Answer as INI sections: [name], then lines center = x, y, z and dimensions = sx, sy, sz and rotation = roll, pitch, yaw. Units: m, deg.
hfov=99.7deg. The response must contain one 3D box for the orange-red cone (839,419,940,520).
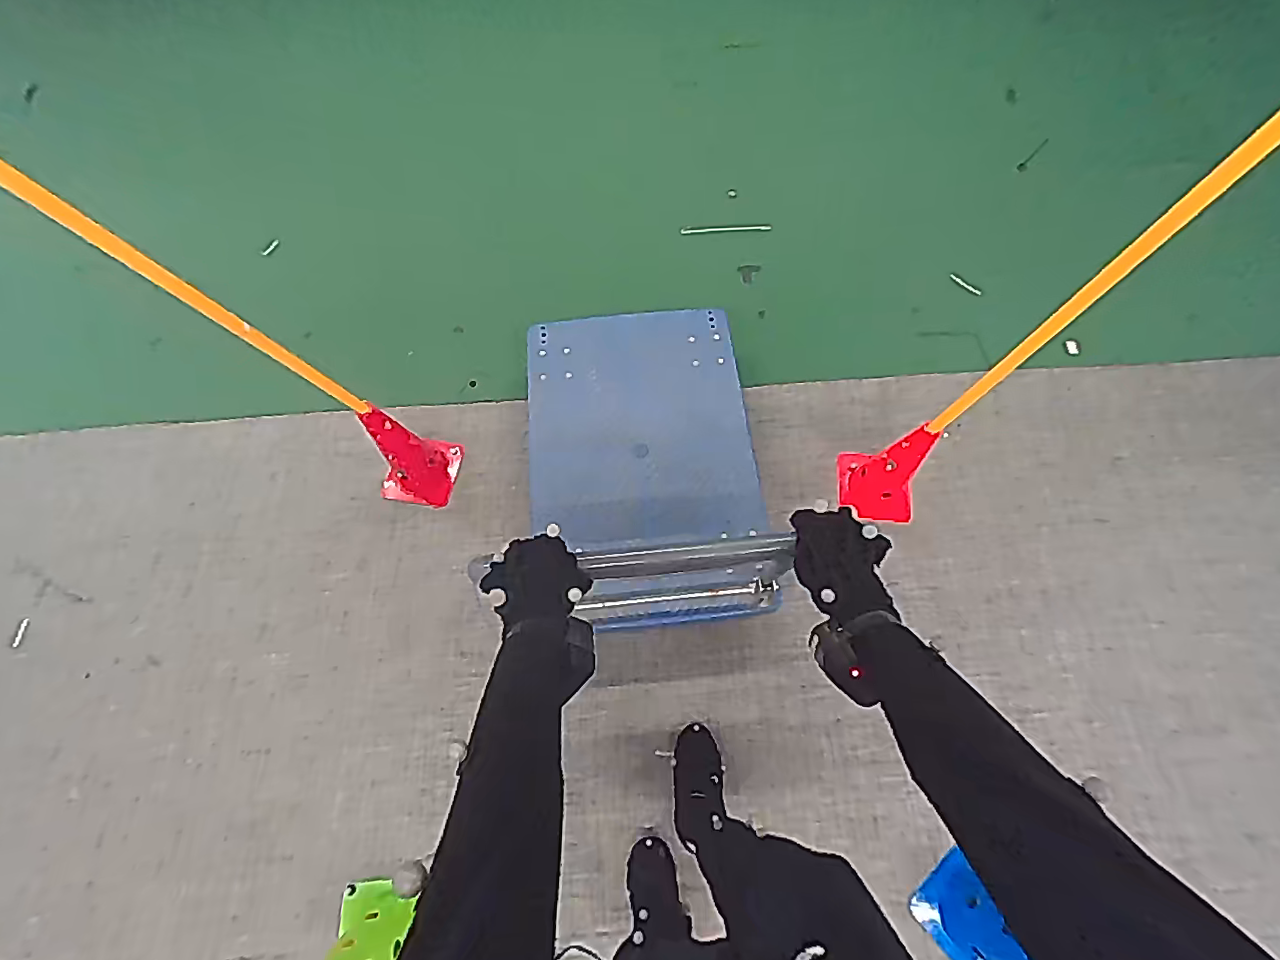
[orange-red cone]
center = 0.656, -0.052, 1.360
dimensions = 0.198, 0.360, 0.199
rotation = 7, 69, 5
